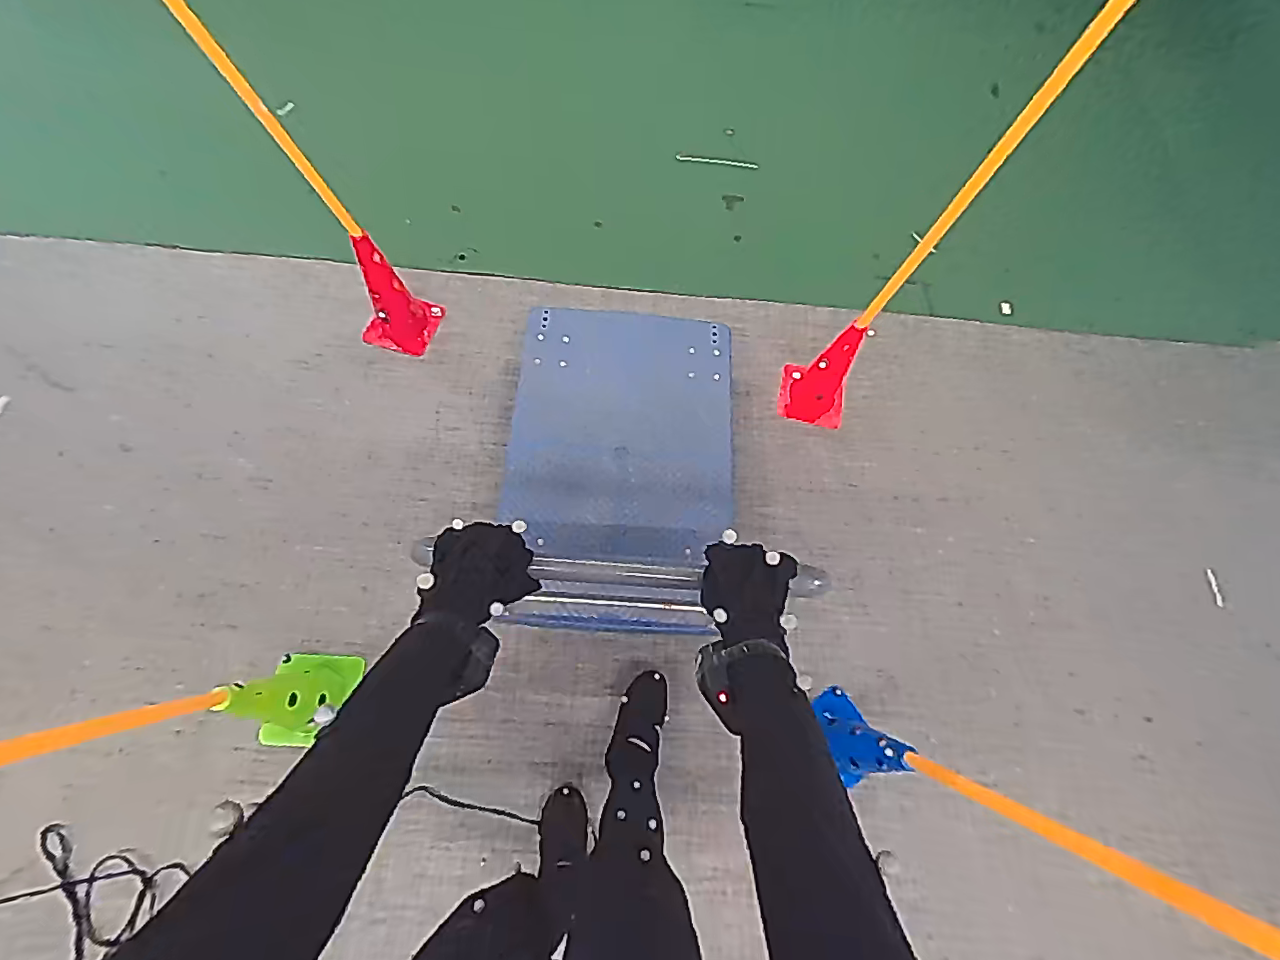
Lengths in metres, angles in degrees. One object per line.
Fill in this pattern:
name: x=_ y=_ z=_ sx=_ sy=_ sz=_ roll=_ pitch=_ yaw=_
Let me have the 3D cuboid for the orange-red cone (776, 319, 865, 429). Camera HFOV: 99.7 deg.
orange-red cone: x=0.545 y=-0.326 z=1.536 sx=0.198 sy=0.360 sz=0.199 roll=14 pitch=68 yaw=2
